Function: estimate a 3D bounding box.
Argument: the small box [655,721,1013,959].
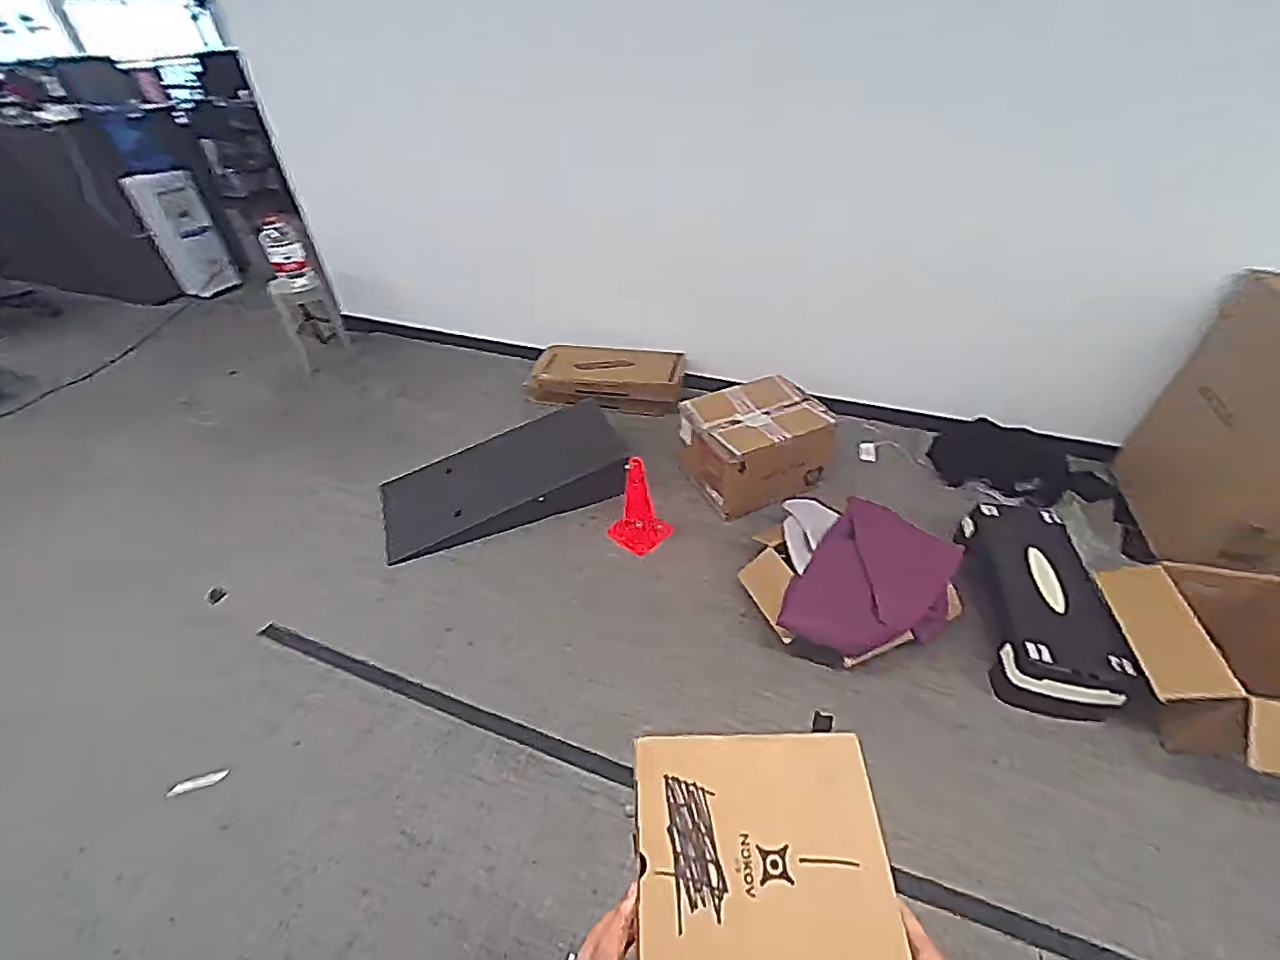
[{"bbox_3d":[0.101,0.269,0.353,0.179,0.176,0.168,-2,52,-1],"label":"small box"}]
